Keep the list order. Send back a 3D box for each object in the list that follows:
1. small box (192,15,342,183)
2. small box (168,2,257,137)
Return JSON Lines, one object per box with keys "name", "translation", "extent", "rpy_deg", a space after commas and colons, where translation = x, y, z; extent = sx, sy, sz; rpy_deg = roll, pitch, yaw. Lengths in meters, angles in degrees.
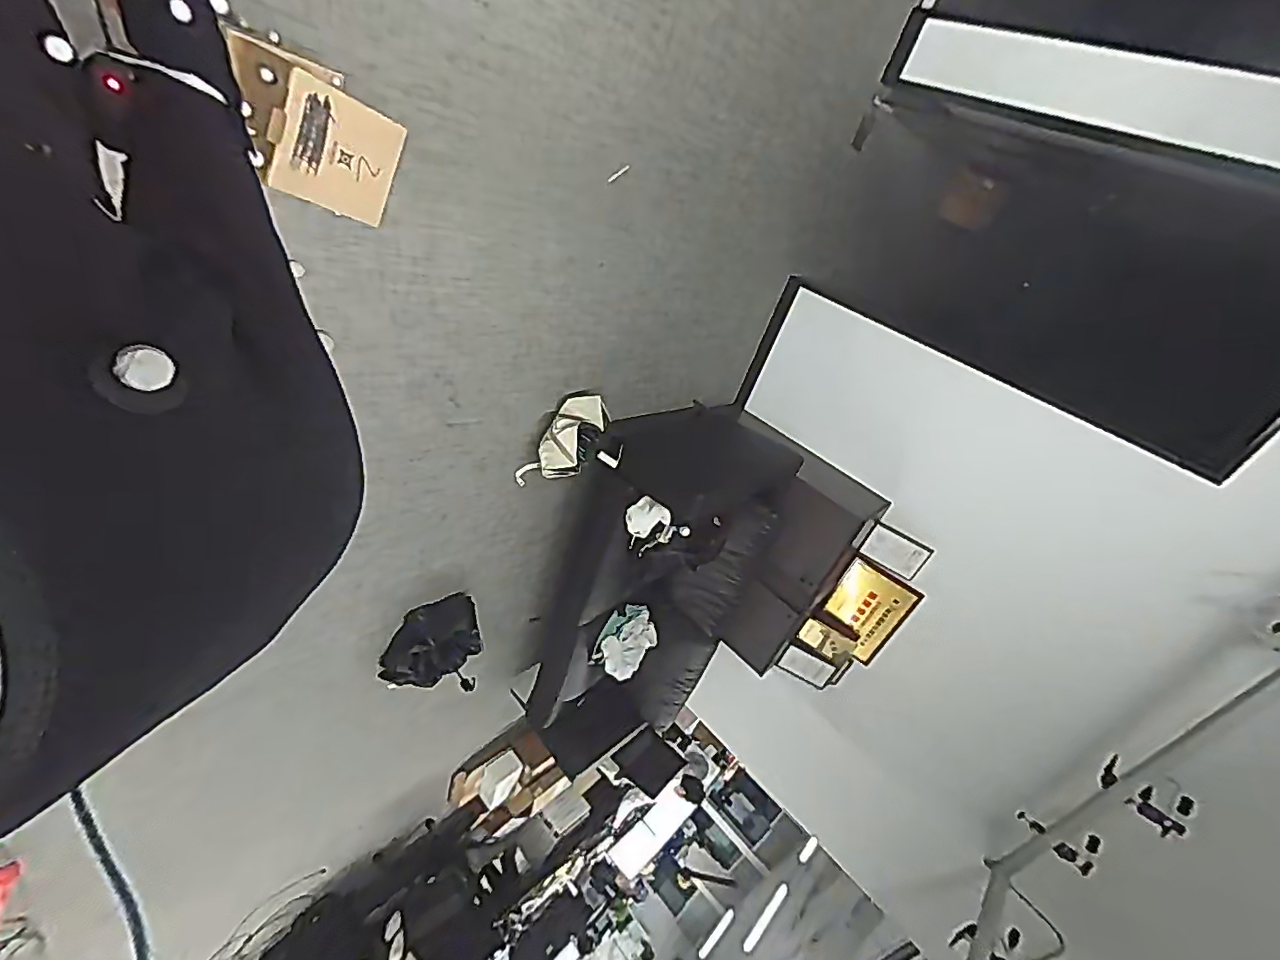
{"name": "small box", "translation": [-0.638, -0.646, 0.923], "extent": [0.168, 0.176, 0.179], "rpy_deg": [-14, 136, -50]}
{"name": "small box", "translation": [-0.739, -0.726, 0.995], "extent": [0.168, 0.176, 0.179], "rpy_deg": [-11, 133, -51]}
